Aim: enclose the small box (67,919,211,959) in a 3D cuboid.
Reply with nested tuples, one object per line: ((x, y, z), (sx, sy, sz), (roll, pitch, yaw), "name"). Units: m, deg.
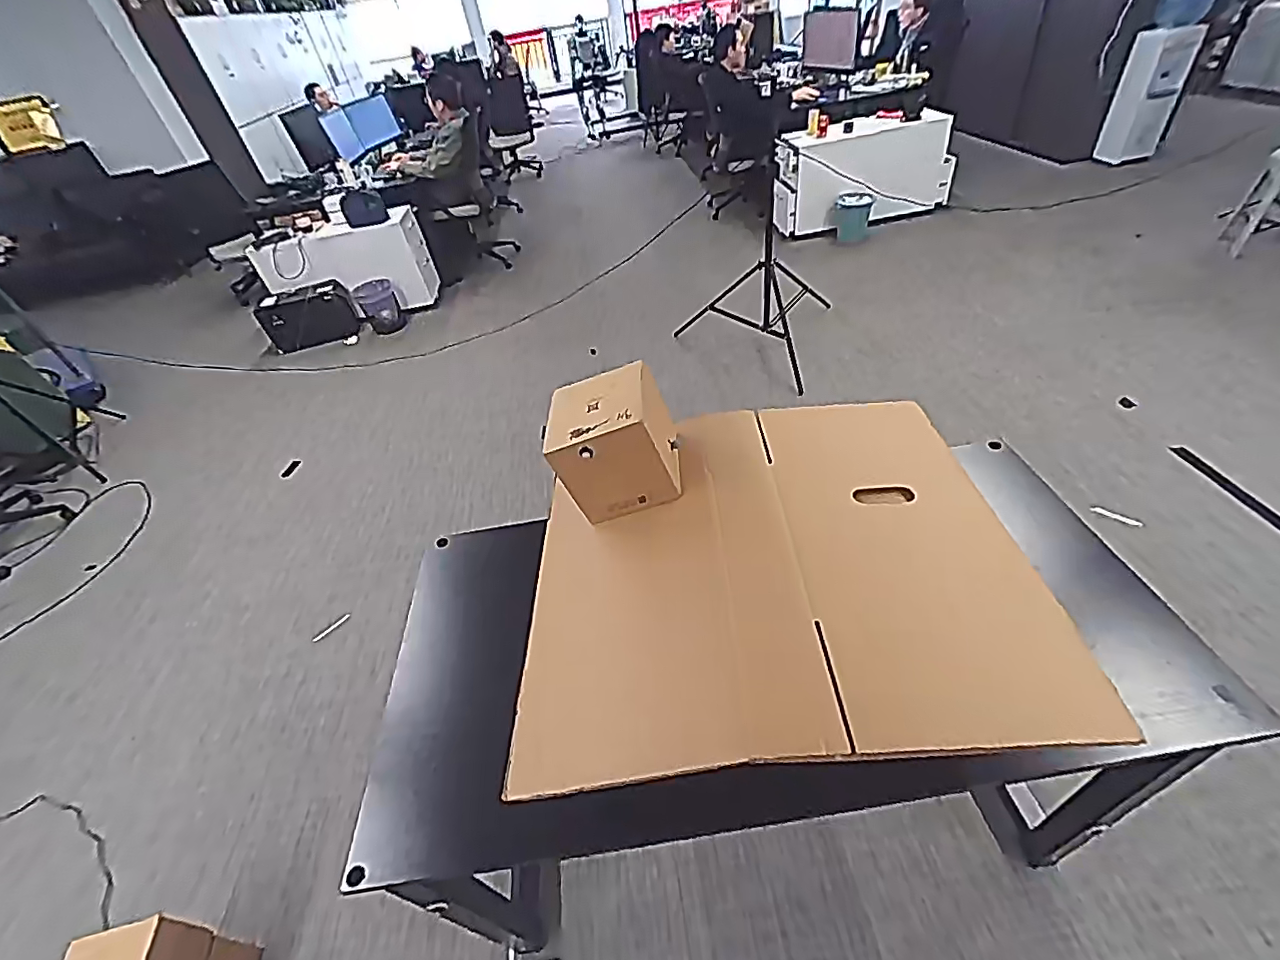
((-0.975, 0.982, 1.031), (0.168, 0.176, 0.179), (-14, 41, -5), "small box")

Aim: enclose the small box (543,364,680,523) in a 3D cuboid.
((-0.039, -0.059, 0.901), (0.168, 0.176, 0.179), (-18, 39, 15), "small box")

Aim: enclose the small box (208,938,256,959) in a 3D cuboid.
((-0.950, 1.104, 1.135), (0.168, 0.176, 0.179), (-13, 42, -2), "small box")
